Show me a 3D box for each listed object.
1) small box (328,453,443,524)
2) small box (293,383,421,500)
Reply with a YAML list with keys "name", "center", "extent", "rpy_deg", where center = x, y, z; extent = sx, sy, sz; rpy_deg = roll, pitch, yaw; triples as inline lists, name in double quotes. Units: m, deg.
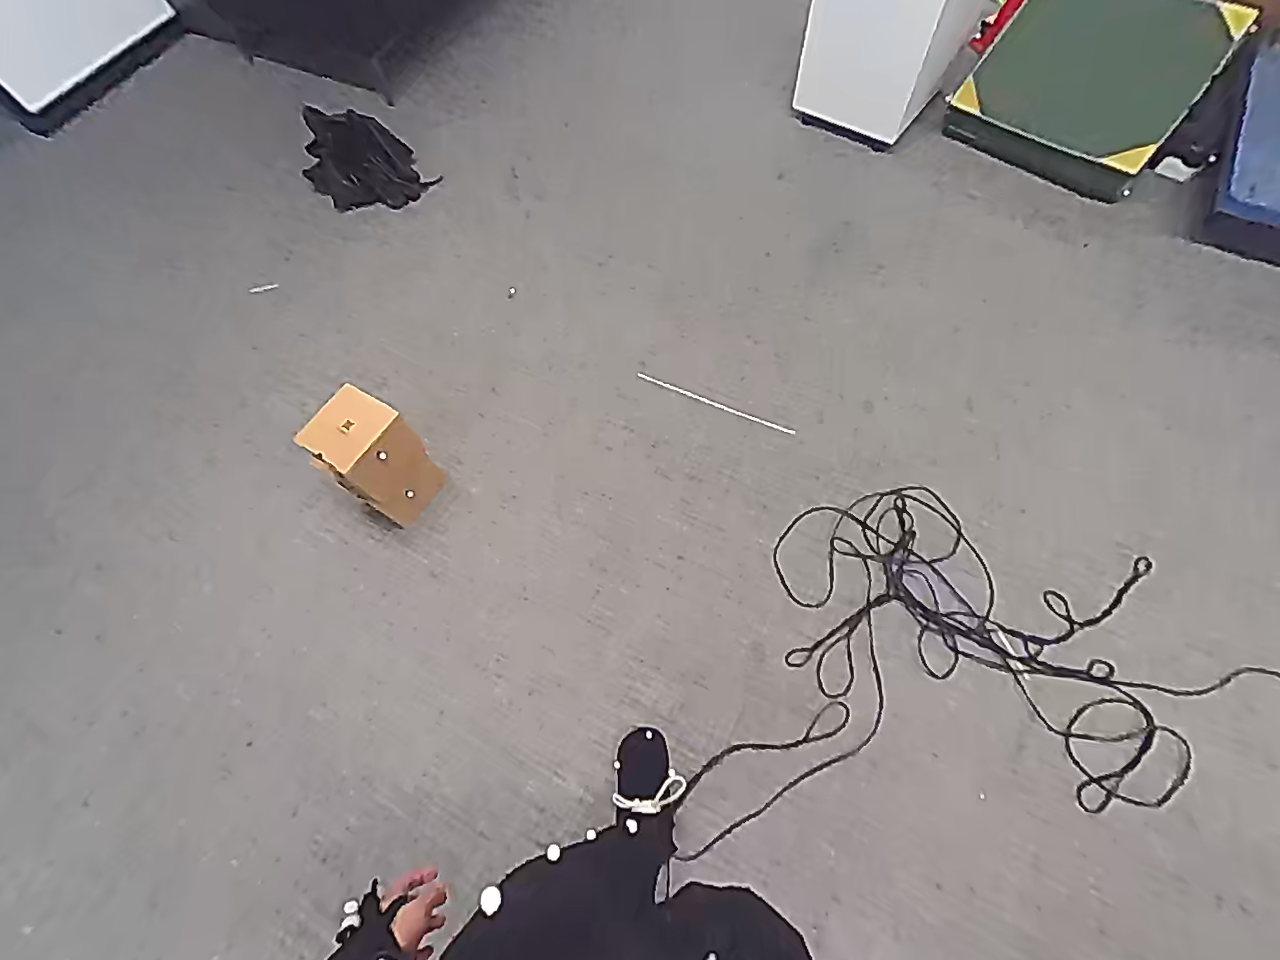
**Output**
- name: "small box"
  center: [-0.646, -0.011, 1.396]
  extent: [0.168, 0.176, 0.179]
  rpy_deg: [28, 71, 15]
- name: "small box"
  center: [-0.637, -0.084, 1.249]
  extent: [0.168, 0.176, 0.179]
  rpy_deg: [28, 70, 14]
